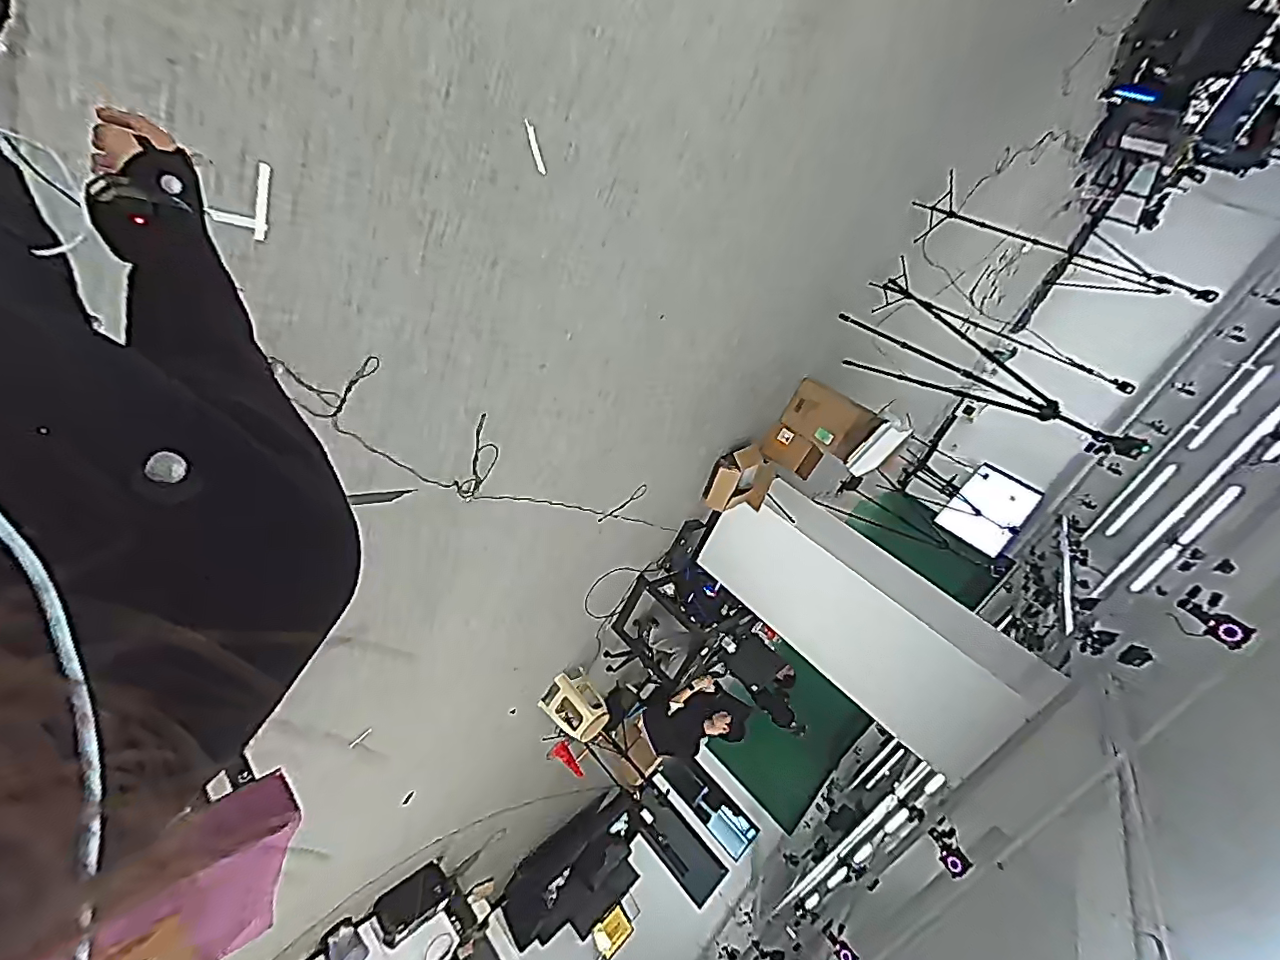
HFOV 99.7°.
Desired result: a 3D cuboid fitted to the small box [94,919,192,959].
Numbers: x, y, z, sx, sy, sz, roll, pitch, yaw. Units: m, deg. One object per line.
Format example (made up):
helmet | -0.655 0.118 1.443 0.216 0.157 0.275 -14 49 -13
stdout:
small box | -1.243 1.251 1.342 0.168 0.176 0.179 -3 127 -54
